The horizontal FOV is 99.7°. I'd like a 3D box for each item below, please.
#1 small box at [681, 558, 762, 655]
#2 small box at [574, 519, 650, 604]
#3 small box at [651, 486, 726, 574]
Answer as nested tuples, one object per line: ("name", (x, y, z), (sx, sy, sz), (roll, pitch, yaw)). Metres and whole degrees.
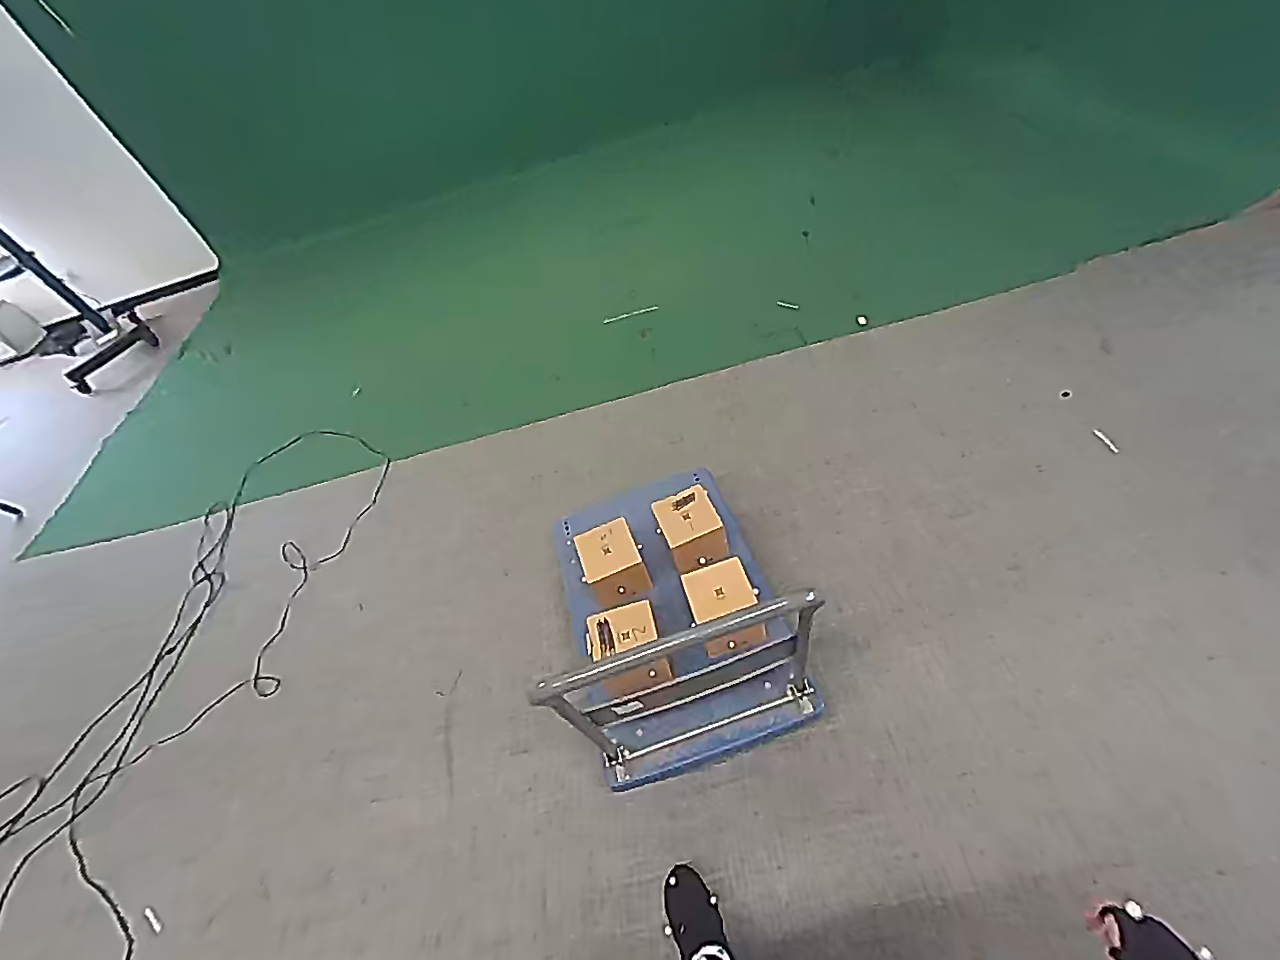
("small box", (0.223, 0.347, 1.475), (0.168, 0.176, 0.179), (-20, 49, 0))
("small box", (-0.080, 0.255, 1.640), (0.168, 0.176, 0.179), (-22, 49, -3))
("small box", (0.150, 0.156, 1.652), (0.168, 0.176, 0.179), (-23, 50, -2))
